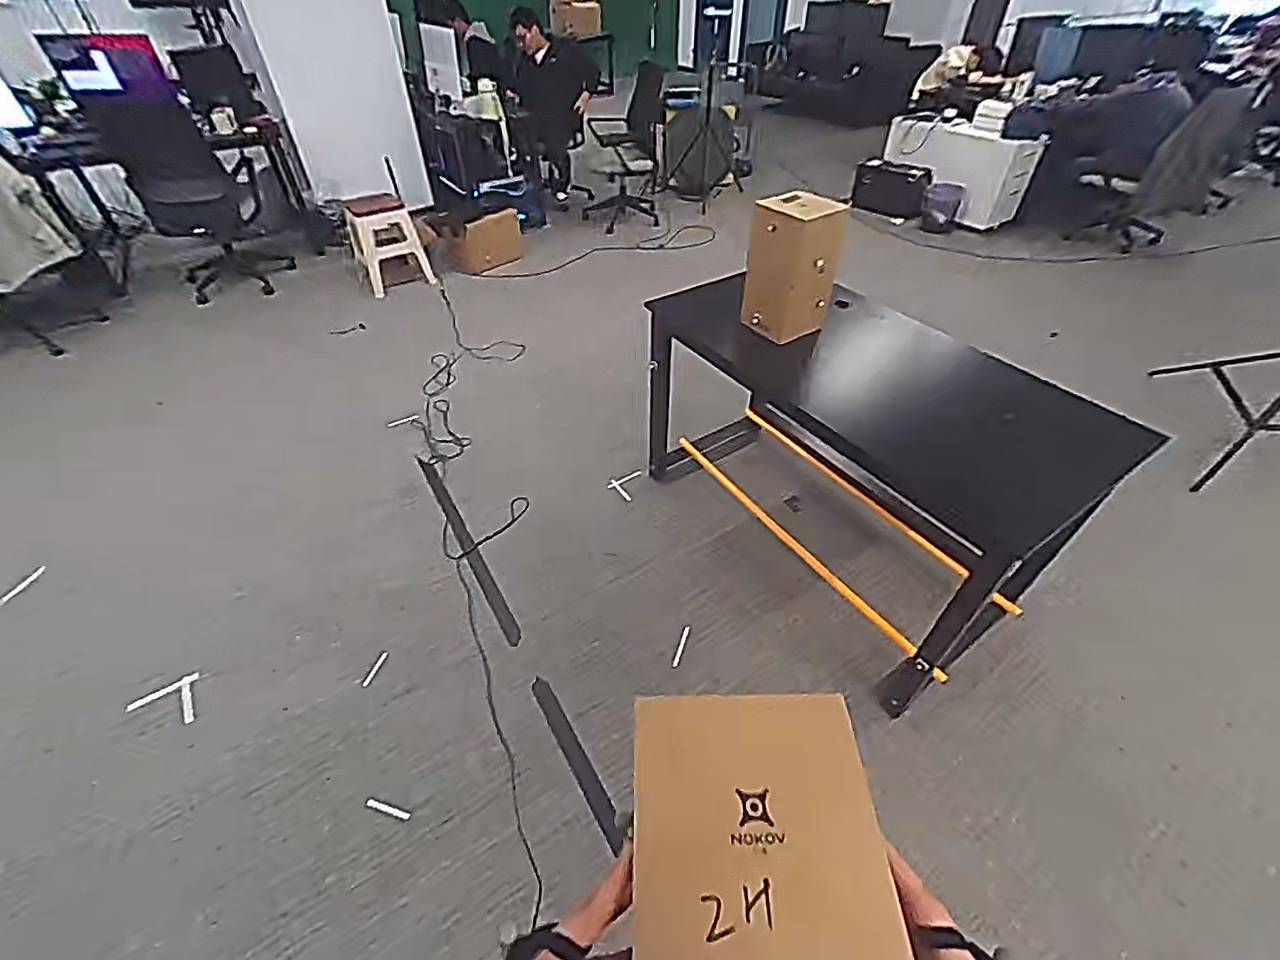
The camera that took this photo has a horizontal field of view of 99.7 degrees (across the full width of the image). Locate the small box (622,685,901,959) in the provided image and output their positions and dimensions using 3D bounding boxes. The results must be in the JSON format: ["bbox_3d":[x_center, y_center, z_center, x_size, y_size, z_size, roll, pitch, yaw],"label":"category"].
[{"bbox_3d":[0.074,0.283,0.427,0.168,0.176,0.179,-2,45,2],"label":"small box"}]

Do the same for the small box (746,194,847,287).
[{"bbox_3d":[0.398,-0.625,1.410,0.168,0.176,0.179,-28,50,-26],"label":"small box"}]

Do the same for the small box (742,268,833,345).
[{"bbox_3d":[0.406,-0.507,1.524,0.179,0.176,0.168,-27,49,-24],"label":"small box"}]
